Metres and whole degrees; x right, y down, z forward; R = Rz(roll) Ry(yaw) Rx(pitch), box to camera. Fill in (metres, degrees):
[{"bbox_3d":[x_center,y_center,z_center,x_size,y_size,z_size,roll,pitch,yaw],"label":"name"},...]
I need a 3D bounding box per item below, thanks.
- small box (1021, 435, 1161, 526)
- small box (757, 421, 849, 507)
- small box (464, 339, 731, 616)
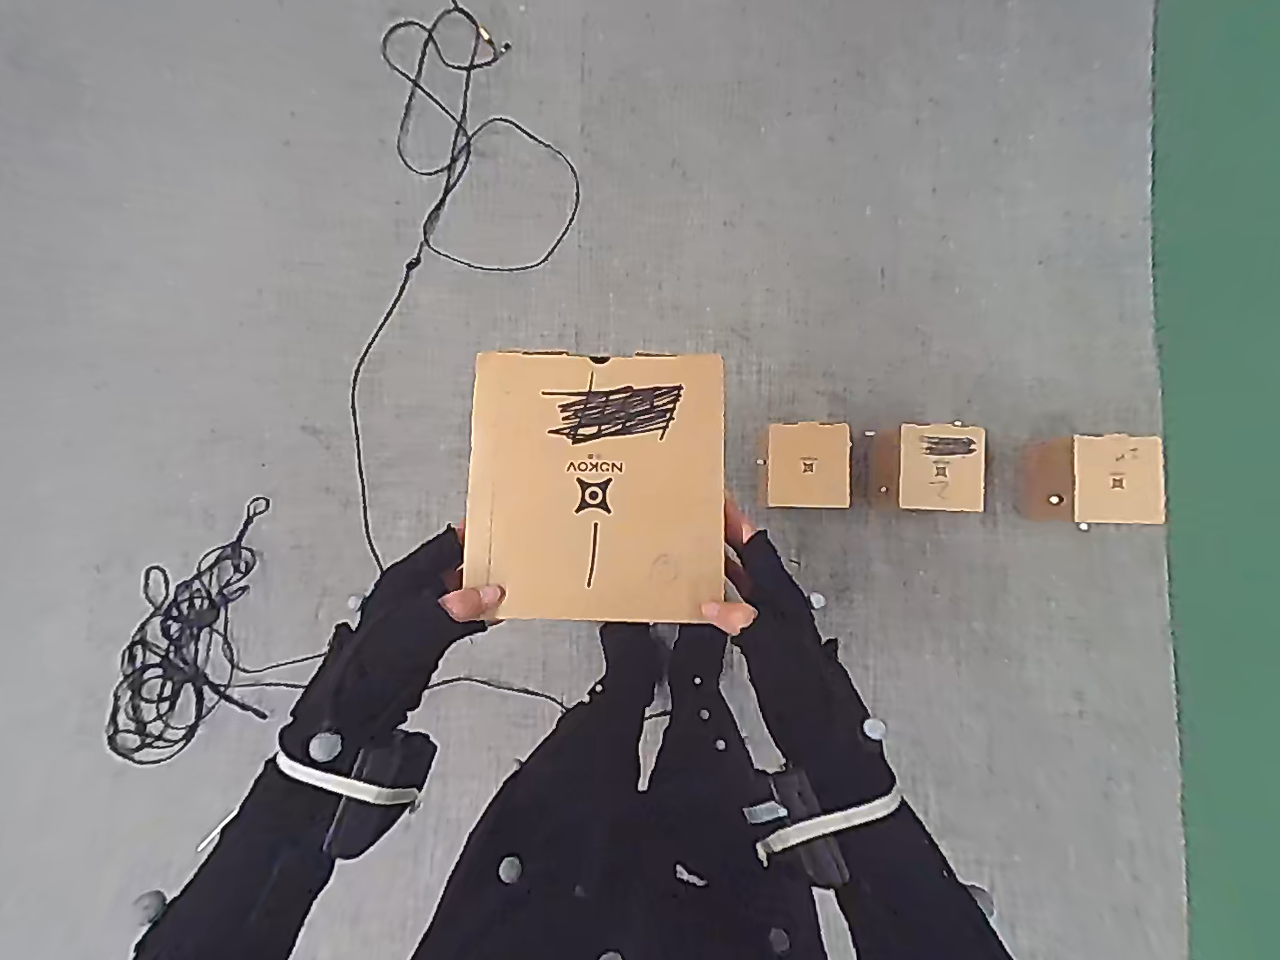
[{"bbox_3d":[0.939,0.003,1.139,0.168,0.176,0.179,1,87,4],"label":"small box"},{"bbox_3d":[0.352,-0.030,1.188,0.168,0.176,0.179,1,86,5],"label":"small box"},{"bbox_3d":[-0.025,0.006,0.425,0.168,0.176,0.179,2,83,1],"label":"small box"}]
